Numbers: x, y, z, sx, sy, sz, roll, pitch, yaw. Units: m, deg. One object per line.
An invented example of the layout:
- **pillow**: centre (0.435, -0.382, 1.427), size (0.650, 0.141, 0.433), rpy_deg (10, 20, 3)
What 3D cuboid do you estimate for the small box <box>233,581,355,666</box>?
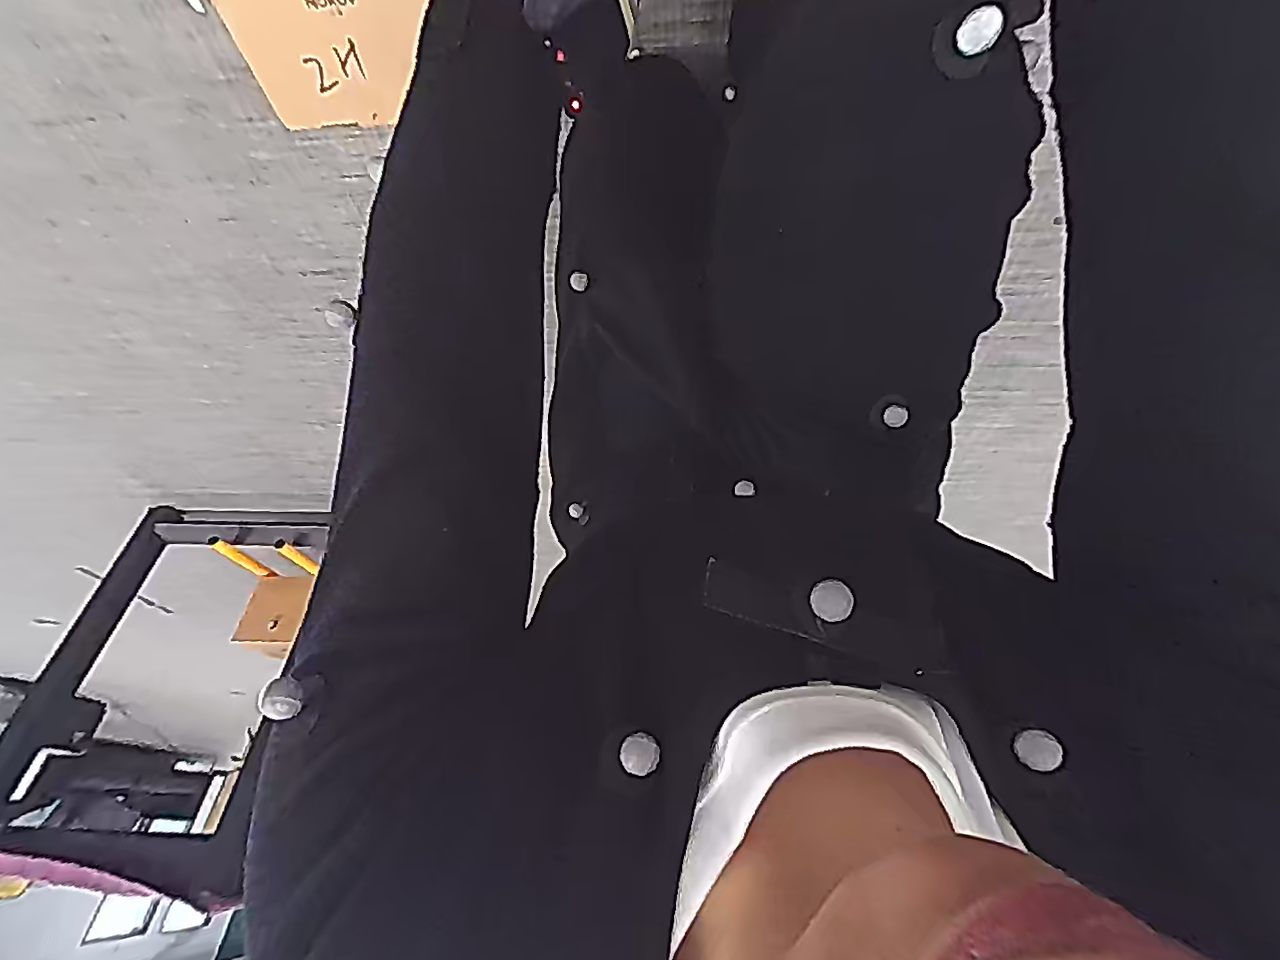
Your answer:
- **small box**: centre (-0.865, 0.363, 1.371), size (0.179, 0.176, 0.168), rpy_deg (-1, 147, 5)
